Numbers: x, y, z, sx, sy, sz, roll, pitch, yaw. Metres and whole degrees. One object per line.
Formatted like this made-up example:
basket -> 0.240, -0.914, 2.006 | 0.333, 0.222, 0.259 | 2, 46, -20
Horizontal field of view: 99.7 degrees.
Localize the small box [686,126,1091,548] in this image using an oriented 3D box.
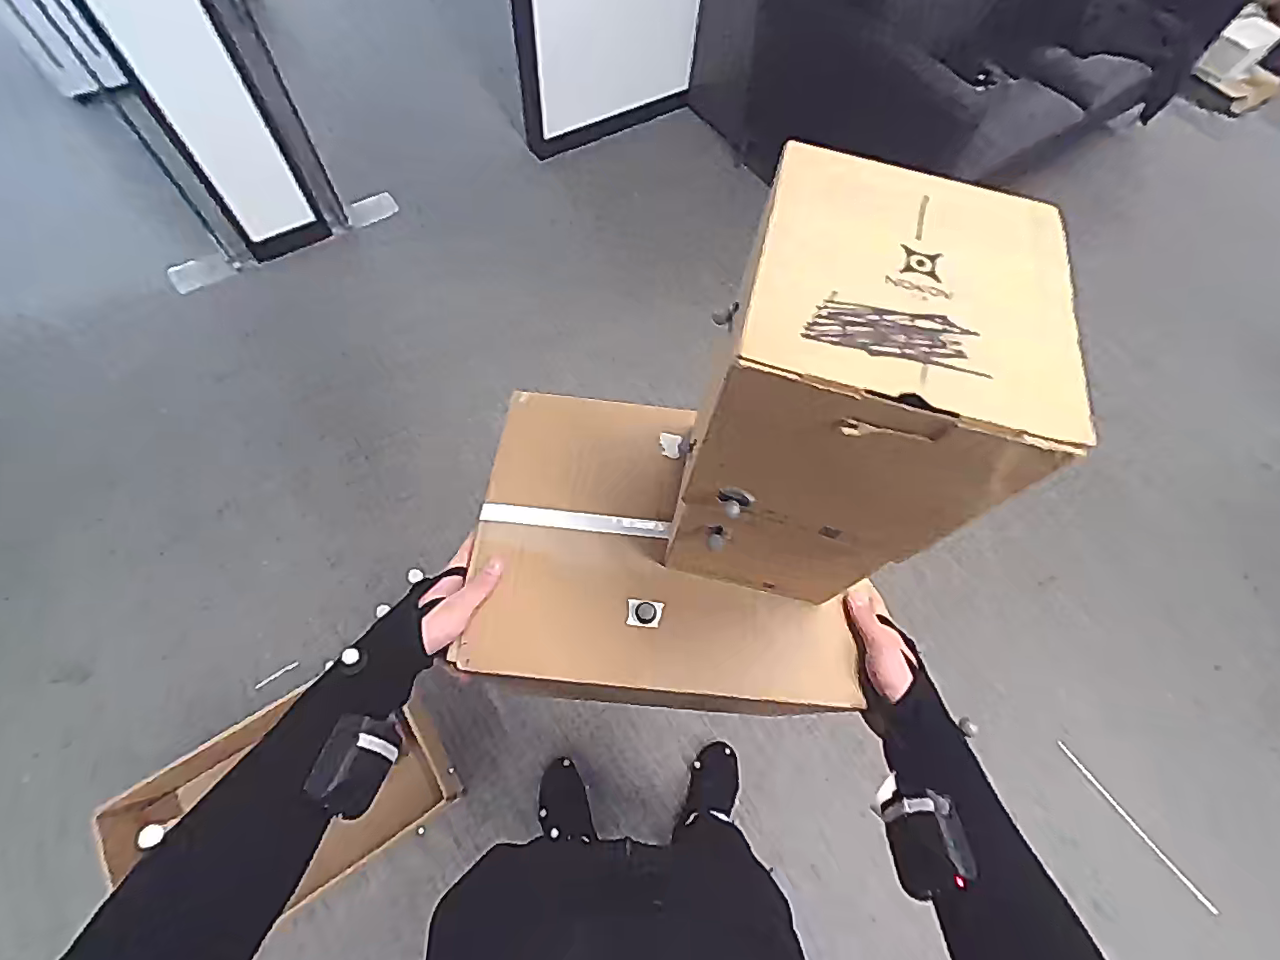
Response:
small box -> 0.132, -0.075, 0.345 | 0.168, 0.176, 0.179 | 16, 63, 3
